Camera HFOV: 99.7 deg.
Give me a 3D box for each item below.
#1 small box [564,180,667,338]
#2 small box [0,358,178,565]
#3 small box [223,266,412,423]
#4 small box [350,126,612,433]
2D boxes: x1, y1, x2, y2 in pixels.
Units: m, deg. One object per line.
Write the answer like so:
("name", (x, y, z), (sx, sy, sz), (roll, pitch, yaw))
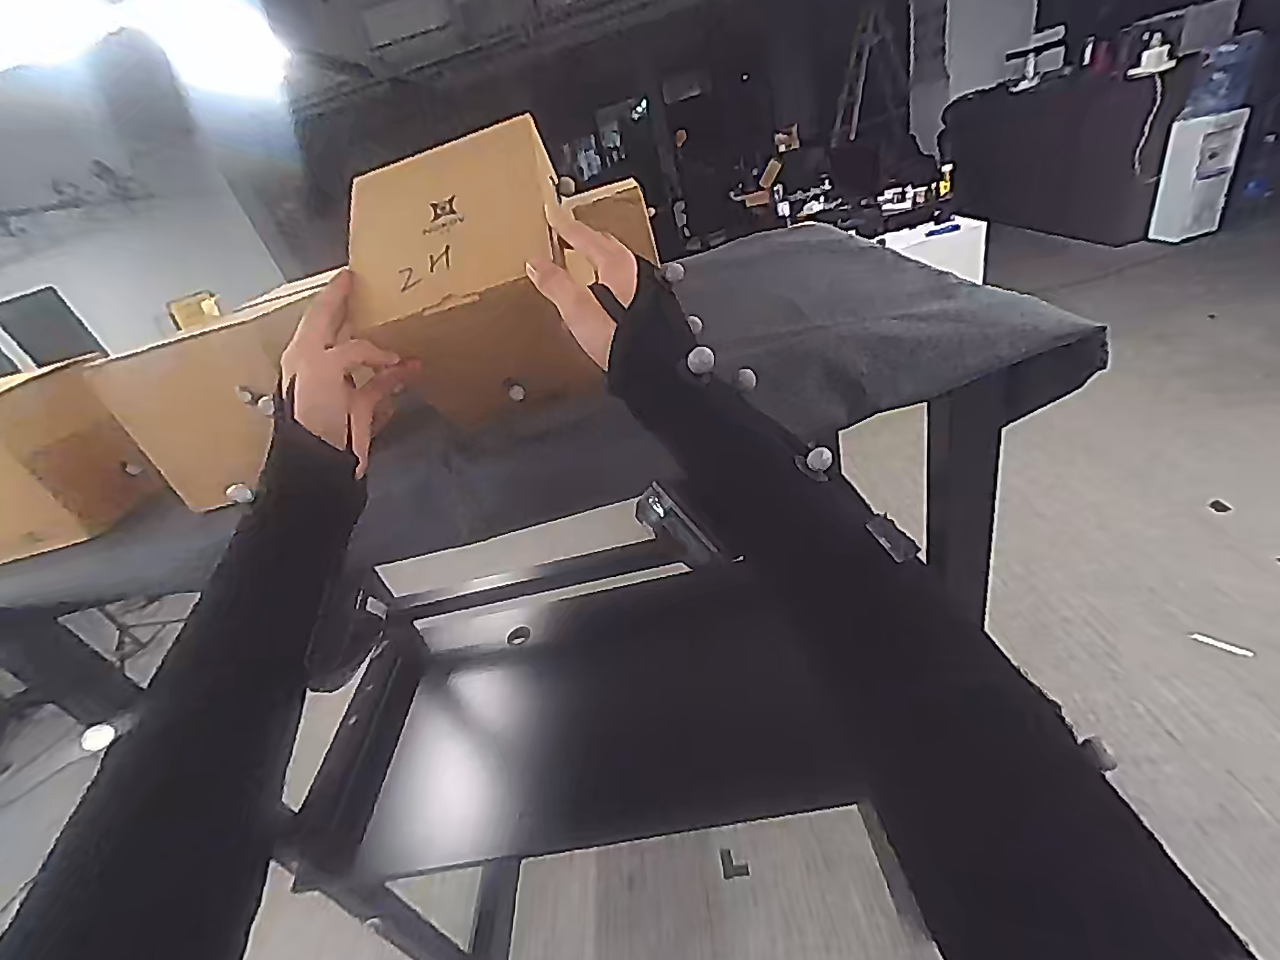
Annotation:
("small box", (-0.063, -0.303, 0.763), (0.168, 0.176, 0.179), (-14, 32, 5))
("small box", (-0.711, -0.021, 0.640), (0.168, 0.176, 0.179), (-15, 31, 5))
("small box", (-0.449, -0.207, 0.810), (0.179, 0.176, 0.168), (-14, 32, 8))
("small box", (-0.134, -0.170, 0.499), (0.168, 0.176, 0.179), (-15, 66, 8))
